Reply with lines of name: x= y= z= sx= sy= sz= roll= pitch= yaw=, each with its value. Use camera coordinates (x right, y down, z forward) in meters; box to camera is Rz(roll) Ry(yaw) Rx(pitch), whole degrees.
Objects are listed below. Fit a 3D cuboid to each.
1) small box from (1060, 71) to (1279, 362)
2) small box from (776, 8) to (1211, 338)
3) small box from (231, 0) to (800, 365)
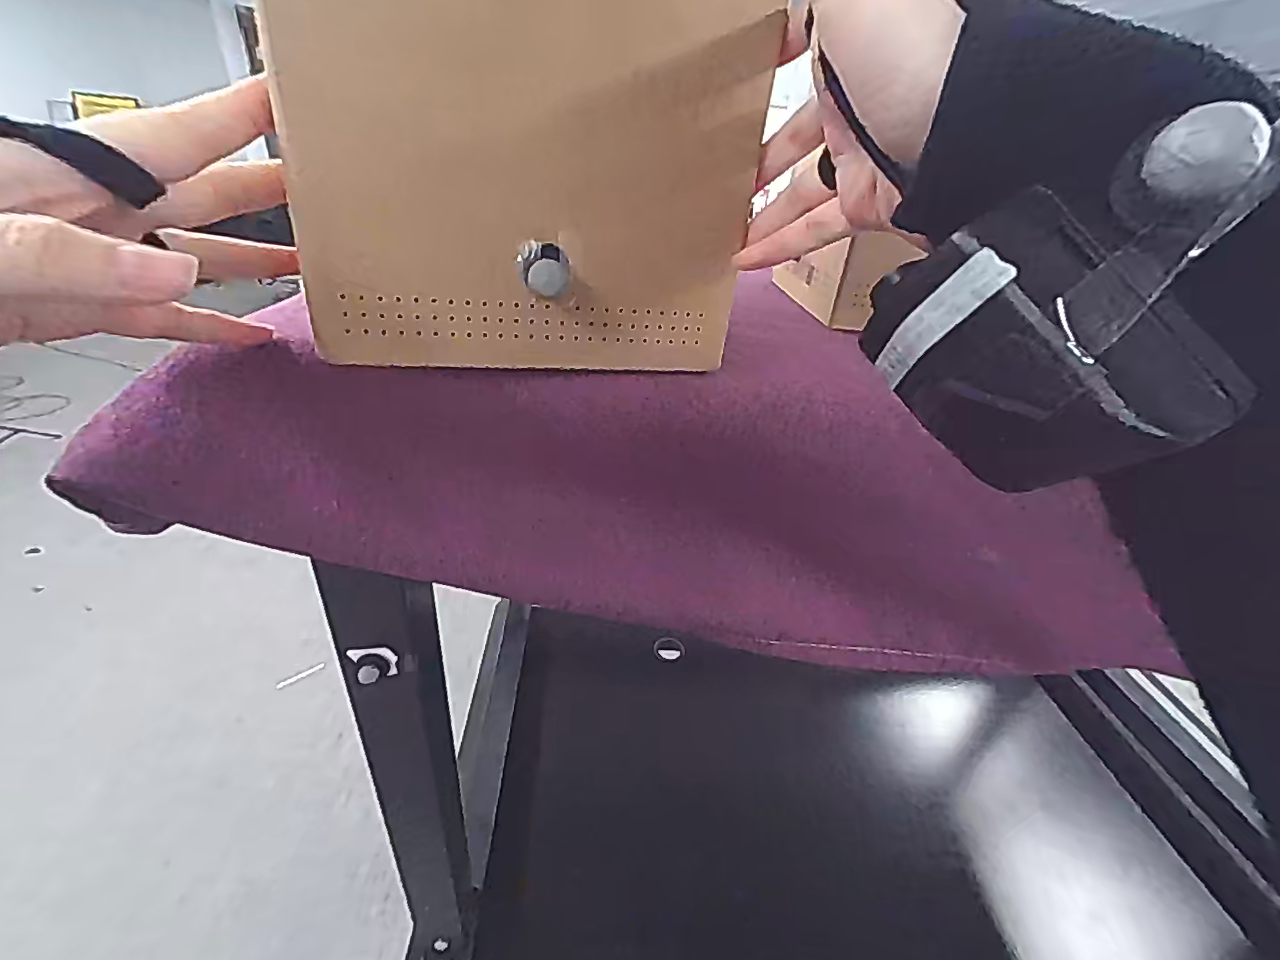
small box: x=0.462 y=-0.192 z=0.409 sx=0.168 sy=0.176 sz=0.179 roll=1 pitch=31 yaw=-9
small box: x=0.219 y=-0.211 z=0.397 sx=0.179 sy=0.176 sz=0.168 roll=3 pitch=31 yaw=-5
small box: x=-0.057 y=-0.158 z=0.249 sx=0.179 sy=0.176 sz=0.168 roll=-2 pitch=30 yaw=-19
